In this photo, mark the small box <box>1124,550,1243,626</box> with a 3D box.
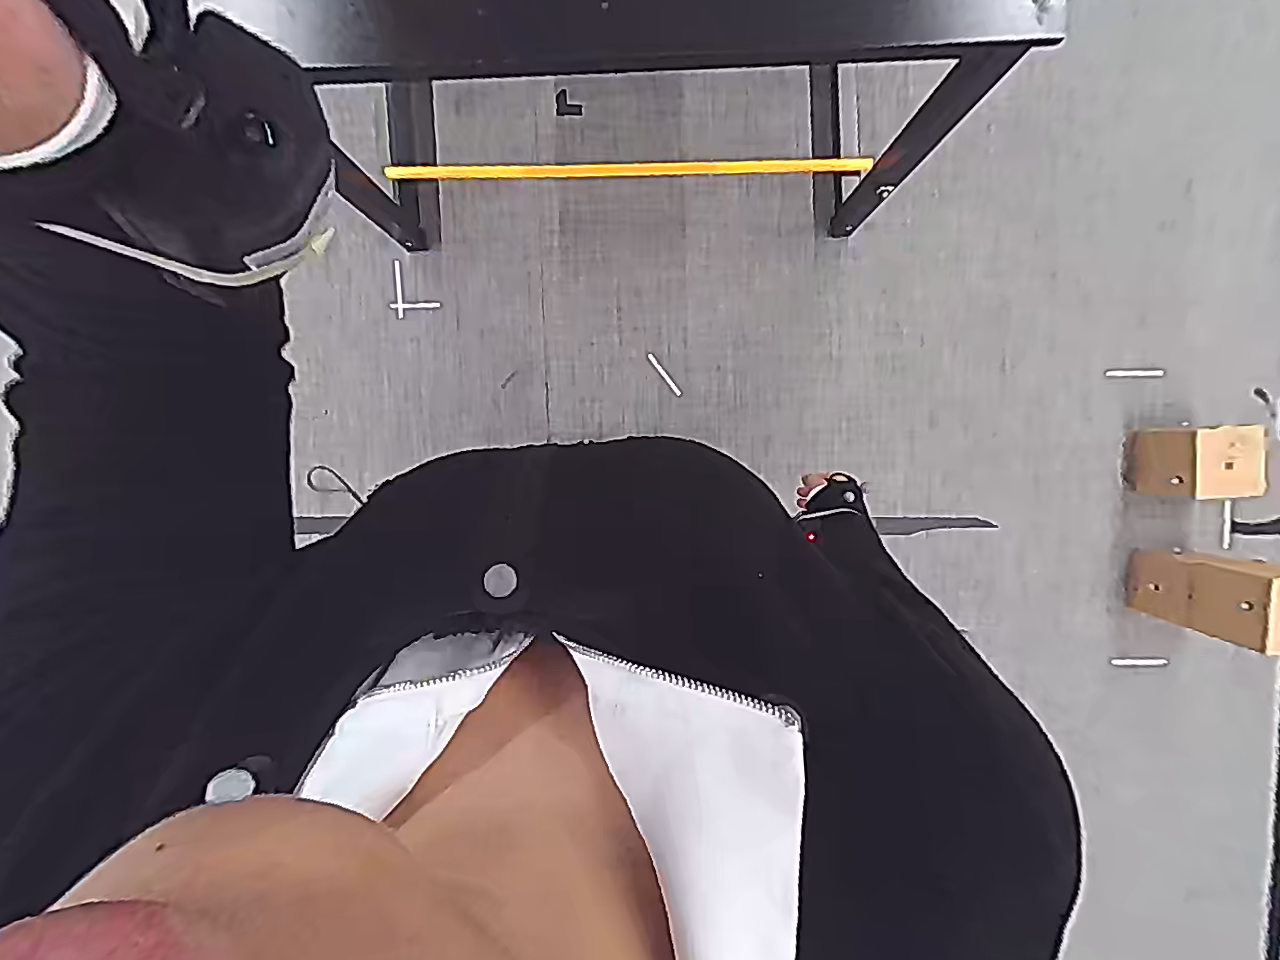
[{"bbox_3d":[1.434,0.282,1.423,0.179,0.176,0.168,1,94,1],"label":"small box"}]

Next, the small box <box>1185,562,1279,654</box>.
[{"bbox_3d":[1.433,0.289,1.258,0.168,0.176,0.179,-1,95,0],"label":"small box"}]

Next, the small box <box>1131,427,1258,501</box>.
[{"bbox_3d":[1.421,-0.046,1.397,0.168,0.176,0.179,-4,94,0],"label":"small box"}]
